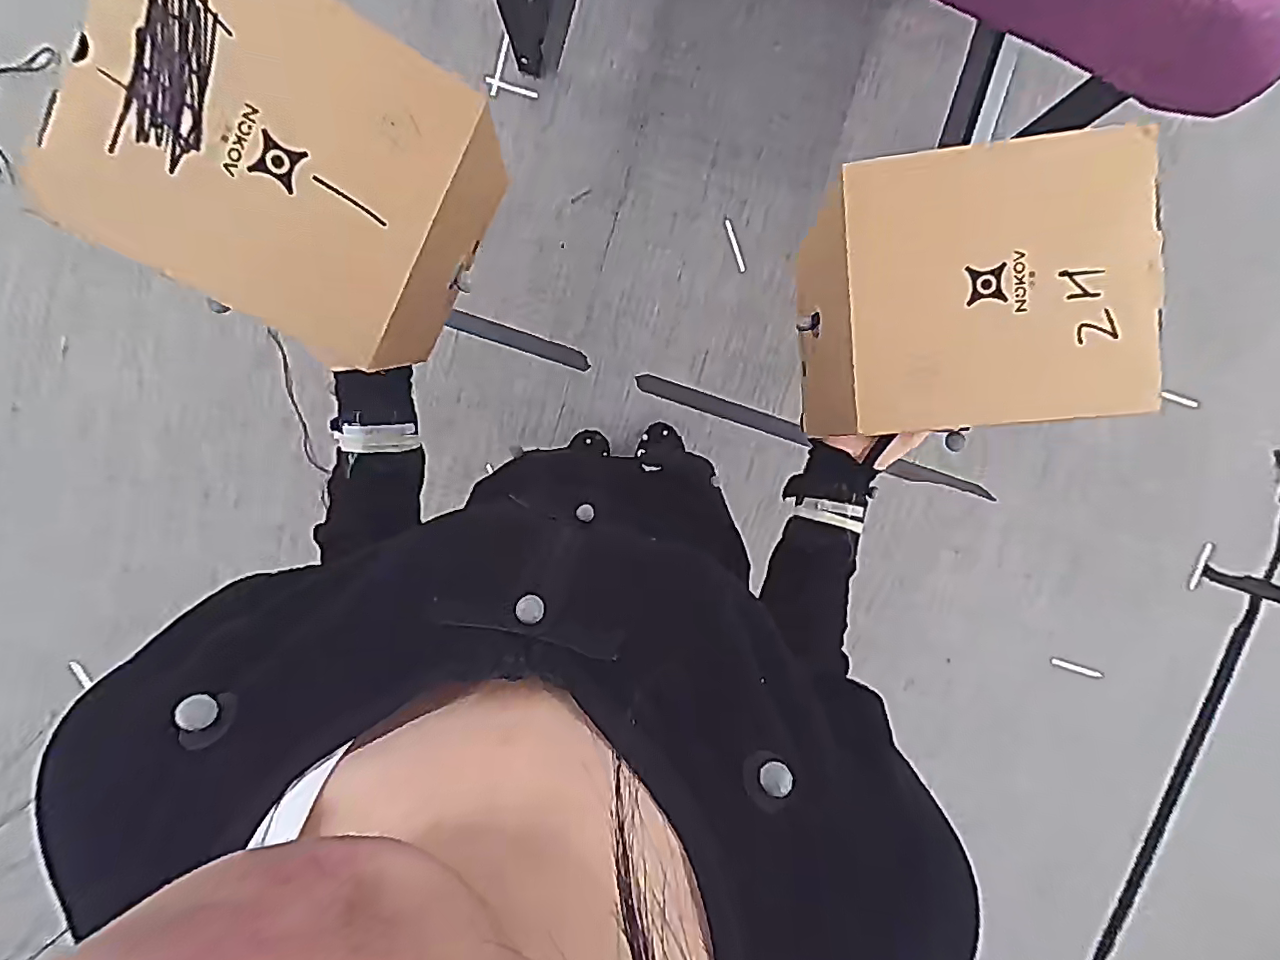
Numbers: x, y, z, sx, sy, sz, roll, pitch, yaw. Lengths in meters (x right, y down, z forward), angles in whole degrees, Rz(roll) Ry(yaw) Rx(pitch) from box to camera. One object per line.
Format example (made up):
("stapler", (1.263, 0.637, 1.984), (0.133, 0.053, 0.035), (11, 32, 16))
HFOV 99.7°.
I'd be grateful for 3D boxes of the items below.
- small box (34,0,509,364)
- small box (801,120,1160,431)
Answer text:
("small box", (-0.202, -0.190, 0.356), (0.179, 0.176, 0.168), (26, 99, -16))
("small box", (0.221, -0.124, 0.401), (0.179, 0.176, 0.168), (-4, 94, 6))
